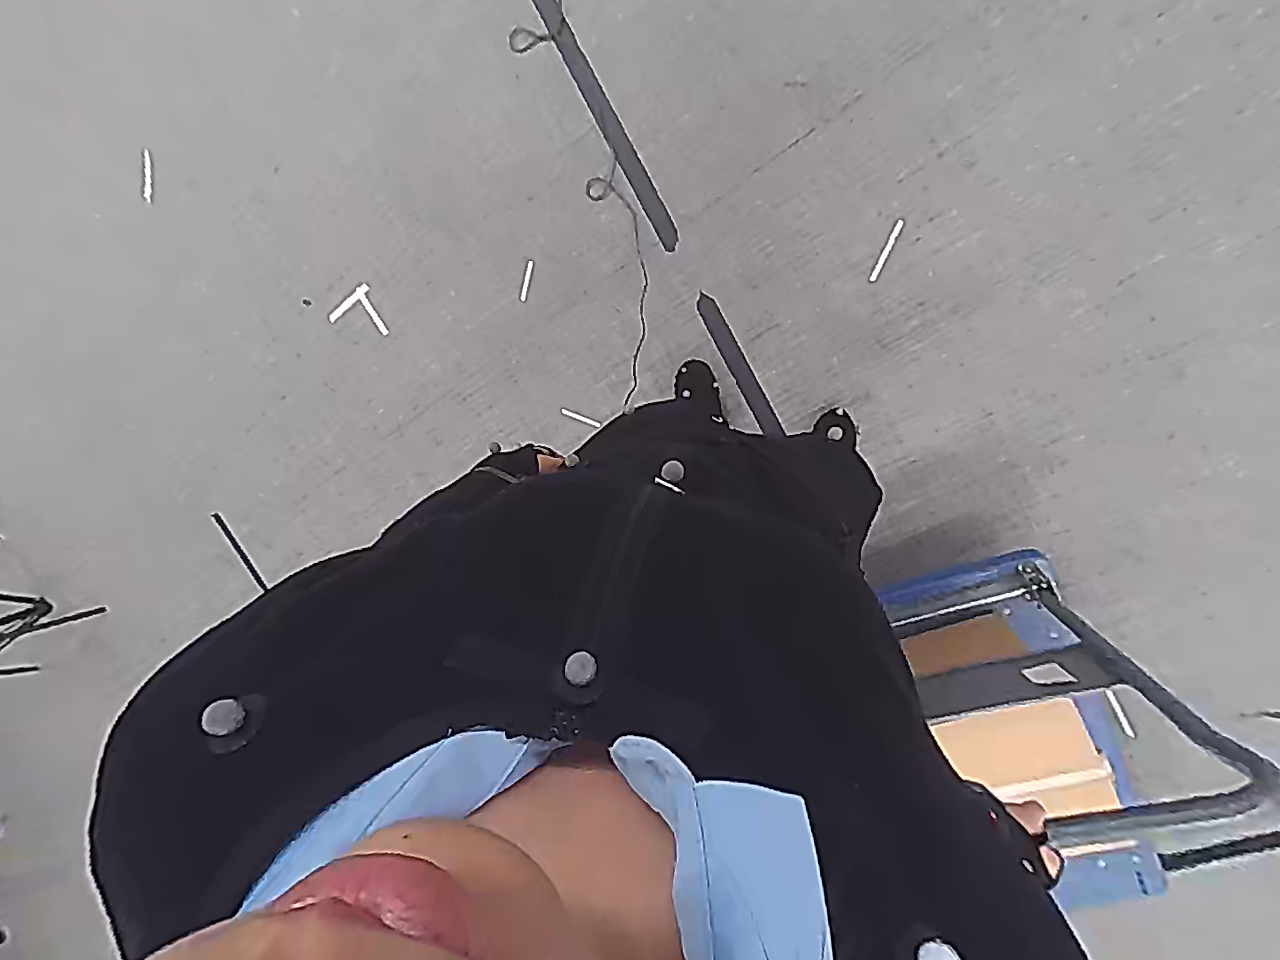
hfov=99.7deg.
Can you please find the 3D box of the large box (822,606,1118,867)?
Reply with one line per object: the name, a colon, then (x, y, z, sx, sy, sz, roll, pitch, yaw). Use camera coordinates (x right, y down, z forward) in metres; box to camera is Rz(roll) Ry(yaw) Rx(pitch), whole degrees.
large box: (0.644, 0.522, 1.138, 0.408, 0.320, 0.320, -26, 94, 19)
